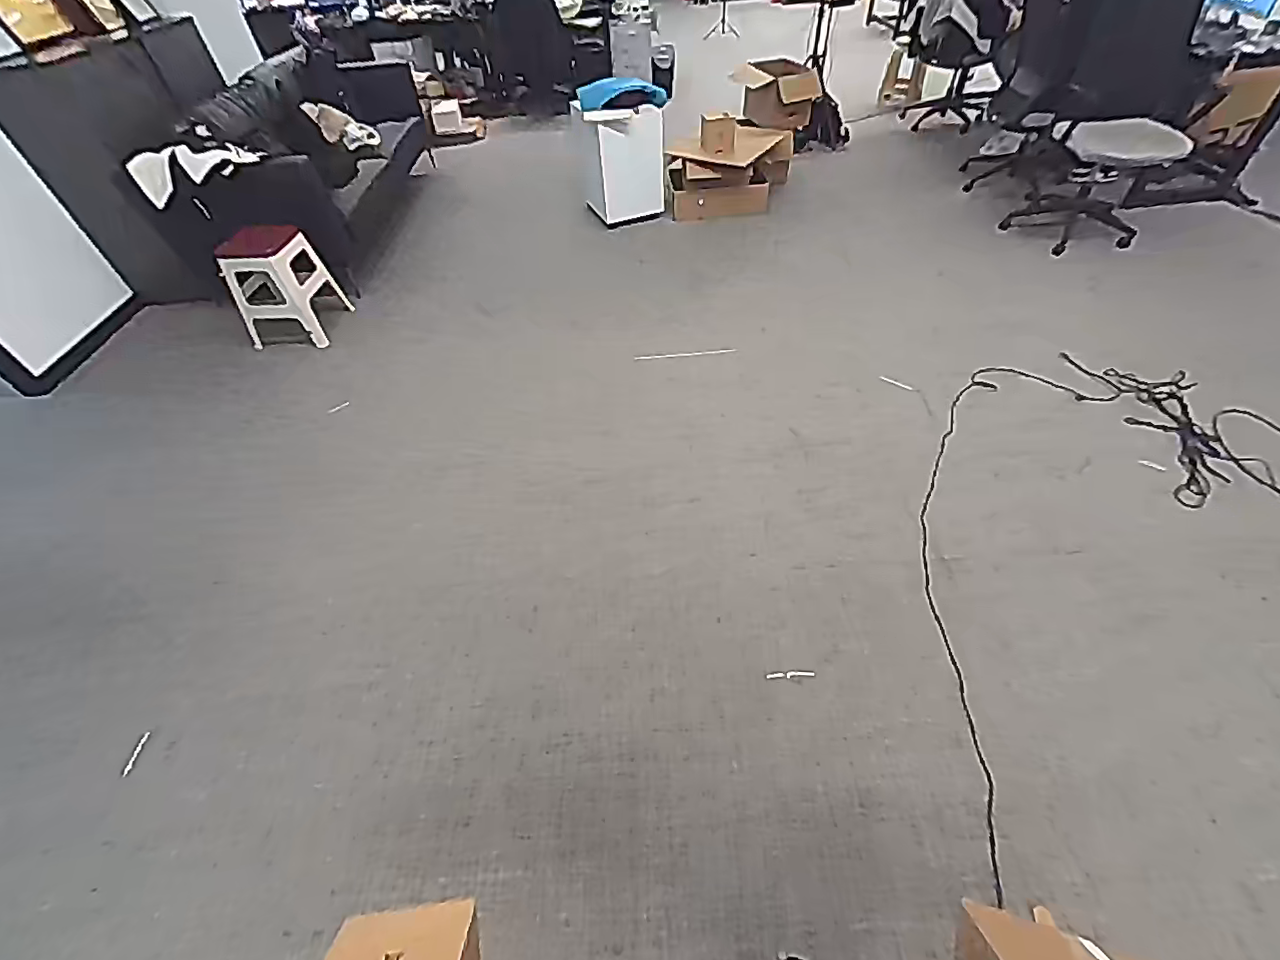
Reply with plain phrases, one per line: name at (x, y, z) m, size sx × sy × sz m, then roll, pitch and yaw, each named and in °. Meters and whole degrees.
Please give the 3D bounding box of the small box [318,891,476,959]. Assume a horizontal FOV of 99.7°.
small box at (-0.290, 0.636, 0.633) m, size 0.168 × 0.179 × 0.176 m, roll -3°, pitch 91°, yaw -7°
